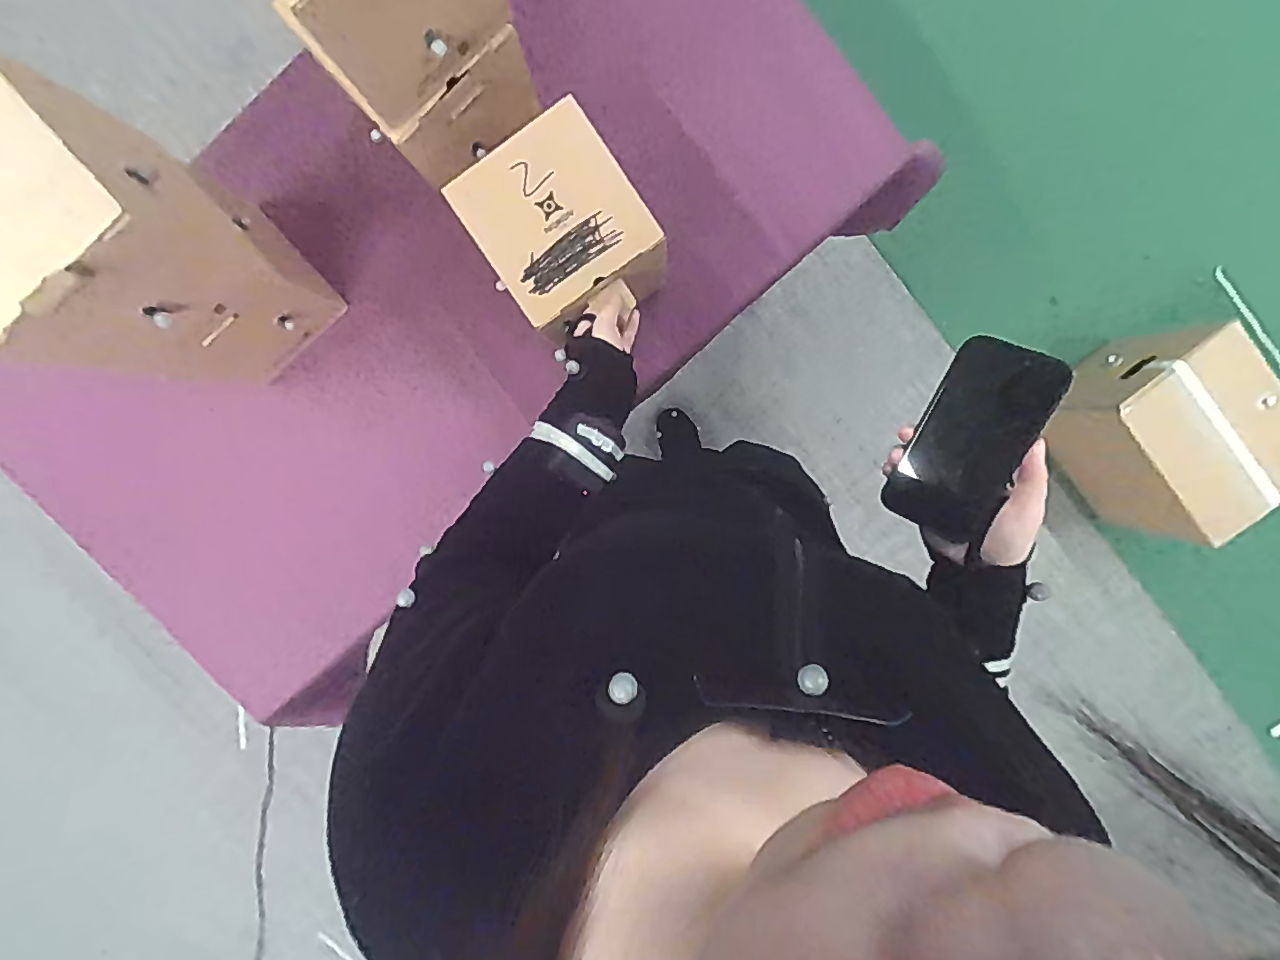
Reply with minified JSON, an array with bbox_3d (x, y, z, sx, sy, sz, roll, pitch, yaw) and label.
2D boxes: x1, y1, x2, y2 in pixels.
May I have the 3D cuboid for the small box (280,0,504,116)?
[{"bbox_3d":[-0.243,-0.461,0.448,0.168,0.176,0.179,-40,96,5],"label":"small box"}]

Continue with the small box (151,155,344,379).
[{"bbox_3d":[-0.501,-0.237,0.643,0.168,0.176,0.179,-41,95,4],"label":"small box"}]

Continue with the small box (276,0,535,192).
[{"bbox_3d":[-0.245,-0.473,0.613,0.168,0.176,0.179,-43,96,5],"label":"small box"}]

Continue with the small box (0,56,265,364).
[{"bbox_3d":[-0.494,-0.219,0.479,0.168,0.176,0.179,-41,96,3],"label":"small box"}]
